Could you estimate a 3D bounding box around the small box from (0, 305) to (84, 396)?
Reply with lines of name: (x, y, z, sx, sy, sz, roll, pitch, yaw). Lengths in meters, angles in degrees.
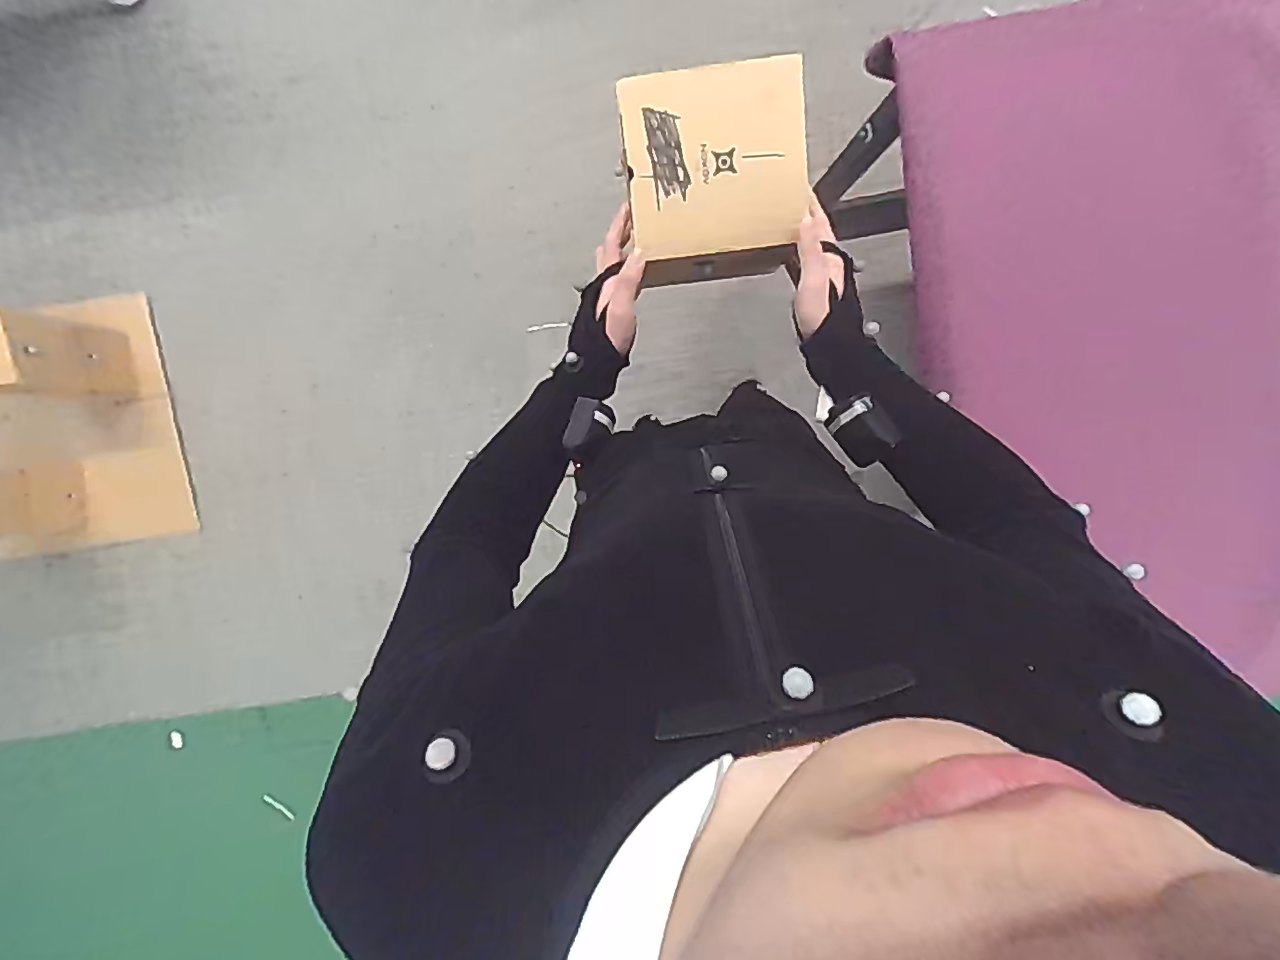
small box: (-1.499, -0.301, 1.286, 0.168, 0.176, 0.179, -8, 97, -2)

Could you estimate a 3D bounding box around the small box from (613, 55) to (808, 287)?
small box: (0.071, -0.318, 0.595, 0.179, 0.176, 0.168, -7, 100, 2)
